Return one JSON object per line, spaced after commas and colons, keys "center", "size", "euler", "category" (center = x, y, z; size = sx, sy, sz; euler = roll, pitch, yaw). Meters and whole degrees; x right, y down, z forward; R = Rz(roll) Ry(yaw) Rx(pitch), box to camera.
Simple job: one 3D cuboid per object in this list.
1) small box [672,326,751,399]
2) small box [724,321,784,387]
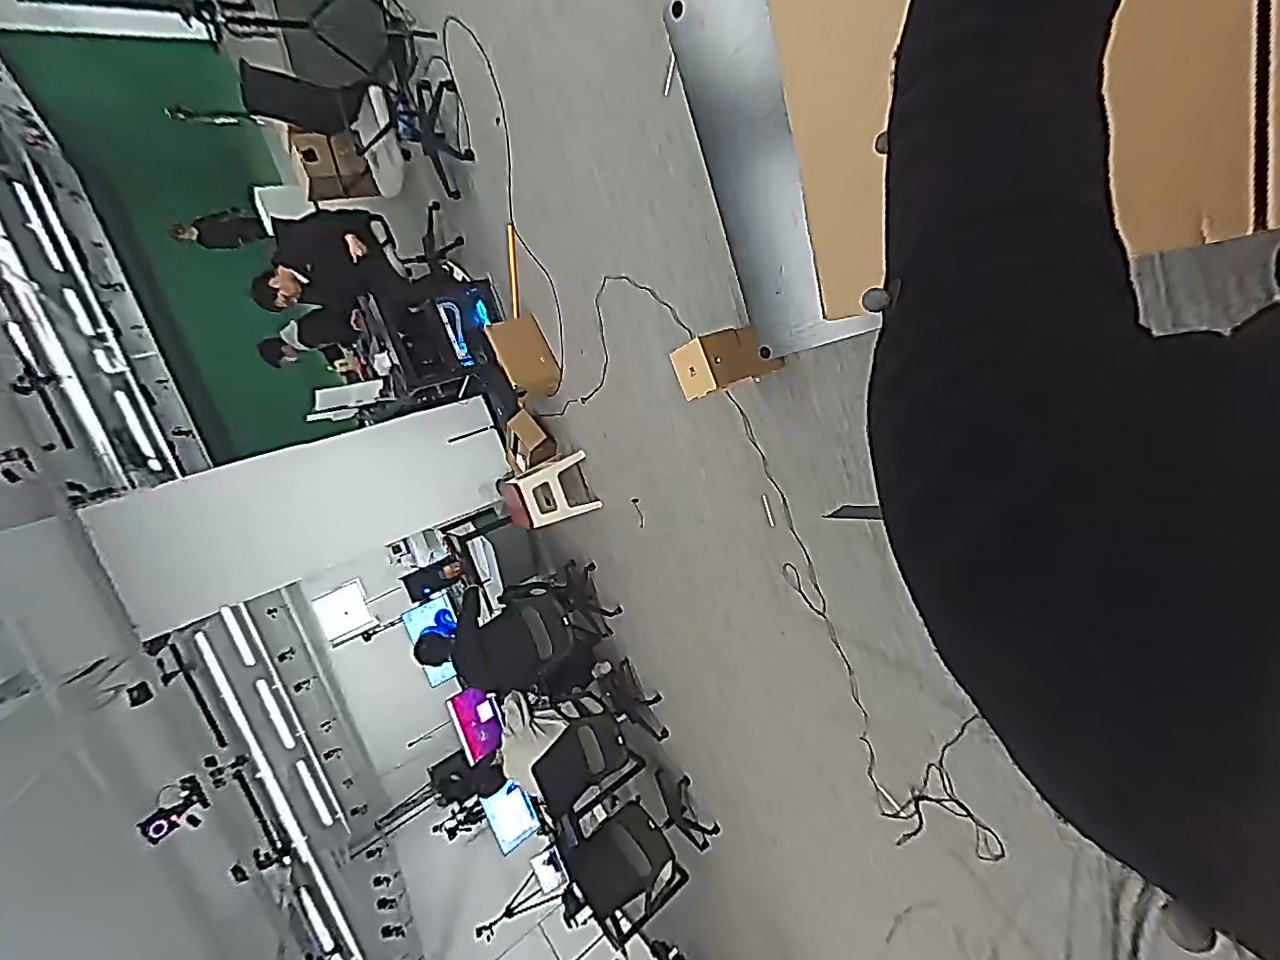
{"center": [0.242, -0.393, 1.809], "size": [0.168, 0.176, 0.179], "euler": [-16, 96, 58], "category": "small box"}
{"center": [0.372, -0.444, 1.893], "size": [0.168, 0.176, 0.179], "euler": [-11, 102, 59], "category": "small box"}
